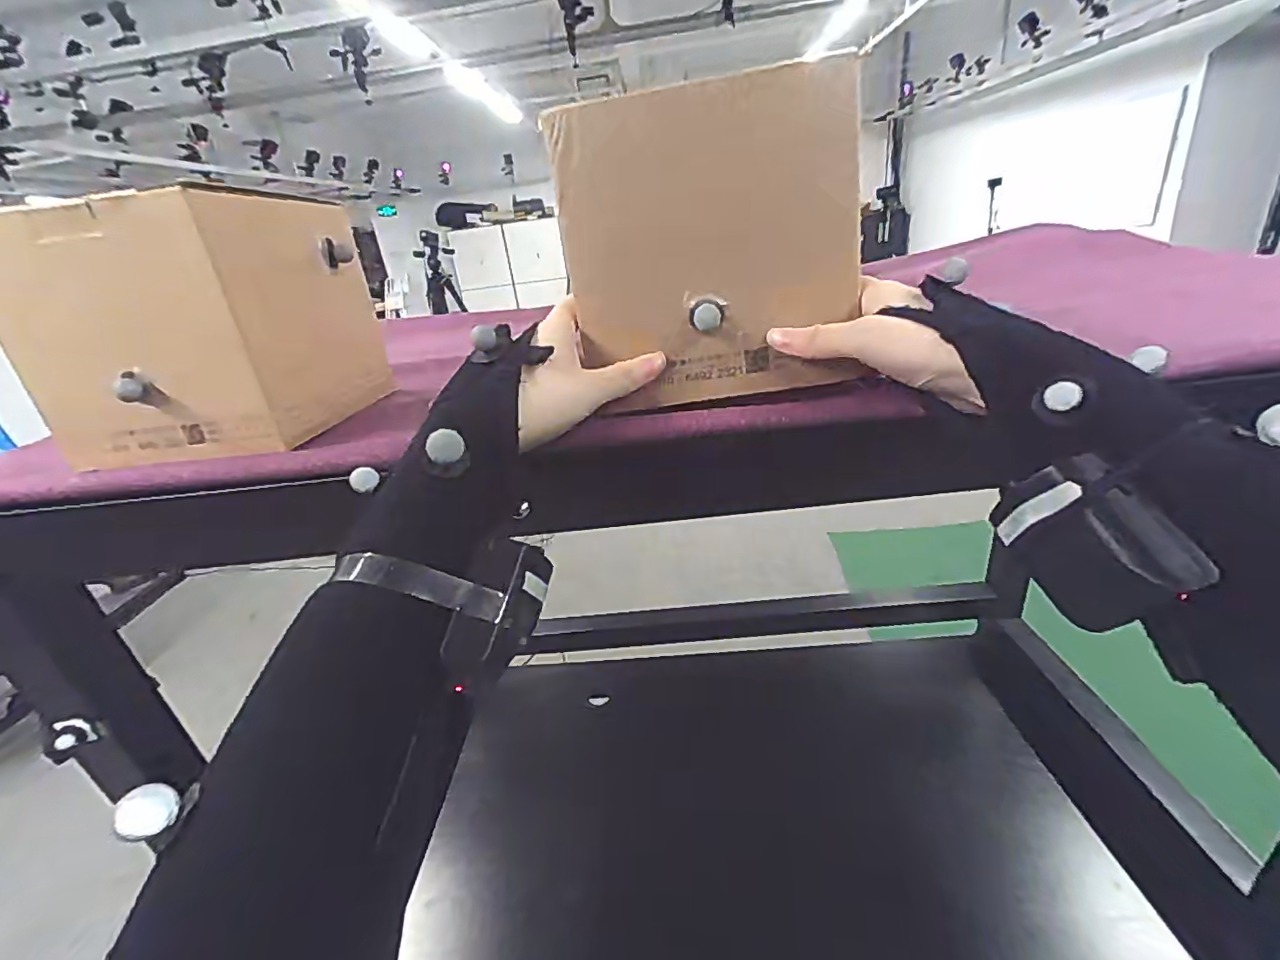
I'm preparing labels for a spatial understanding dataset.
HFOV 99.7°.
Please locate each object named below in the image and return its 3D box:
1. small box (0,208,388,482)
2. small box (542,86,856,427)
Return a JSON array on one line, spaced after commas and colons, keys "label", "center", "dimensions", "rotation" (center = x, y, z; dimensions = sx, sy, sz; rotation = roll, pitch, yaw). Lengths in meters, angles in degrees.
[{"label": "small box", "center": [-0.328, -0.111, 0.430], "dimensions": [0.168, 0.176, 0.179], "rotation": [-5, 25, 5]}, {"label": "small box", "center": [0.043, -0.145, 0.385], "dimensions": [0.168, 0.176, 0.179], "rotation": [-7, 22, 6]}]
